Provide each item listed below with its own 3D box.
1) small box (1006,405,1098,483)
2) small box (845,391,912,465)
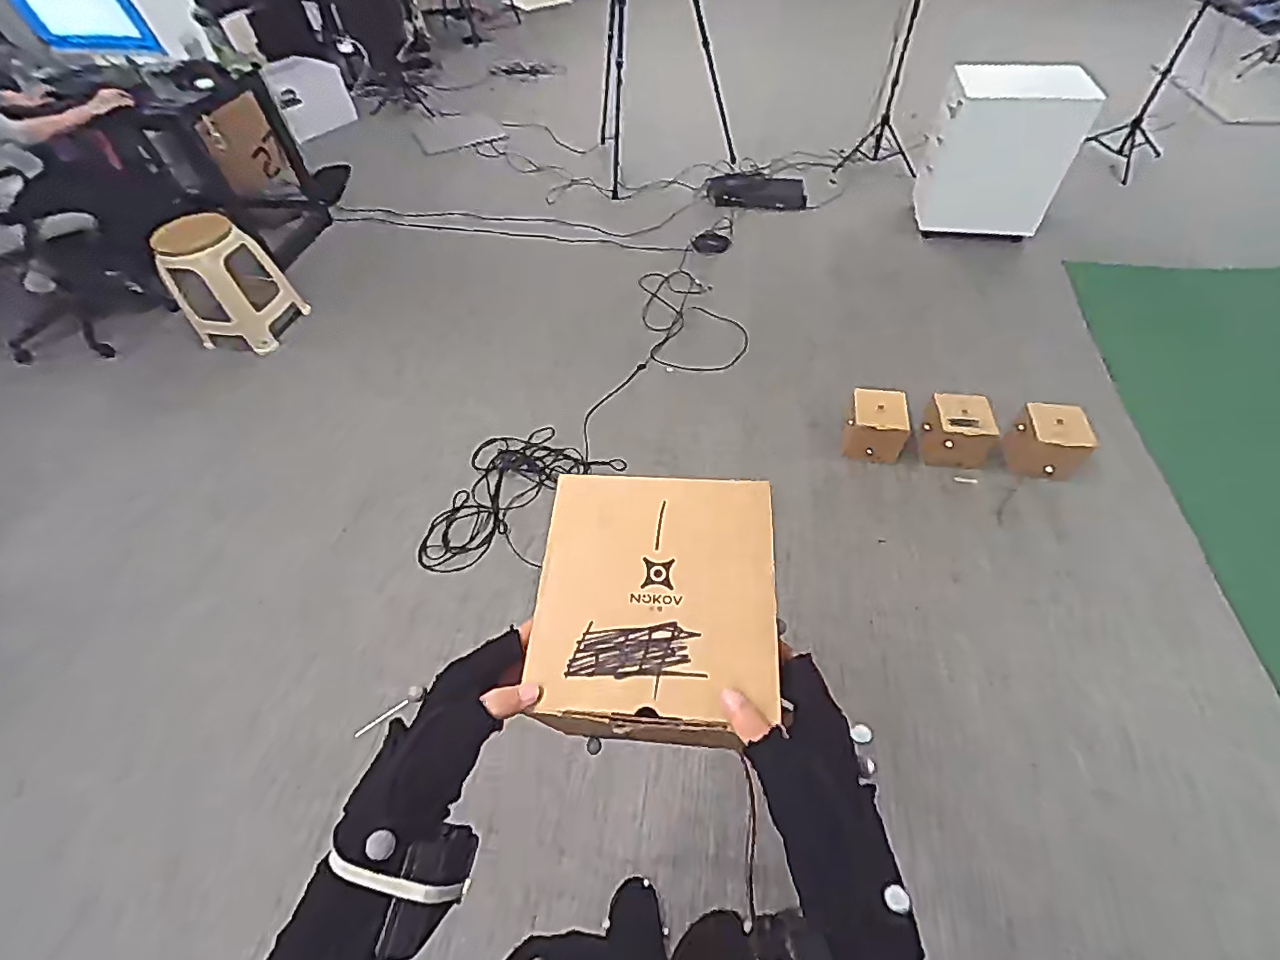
[{"bbox_3d":[1.321,-0.117,1.751,0.168,0.176,0.179,6,54,10],"label":"small box"},{"bbox_3d":[0.800,-0.175,1.831,0.168,0.176,0.179,7,53,9],"label":"small box"}]
